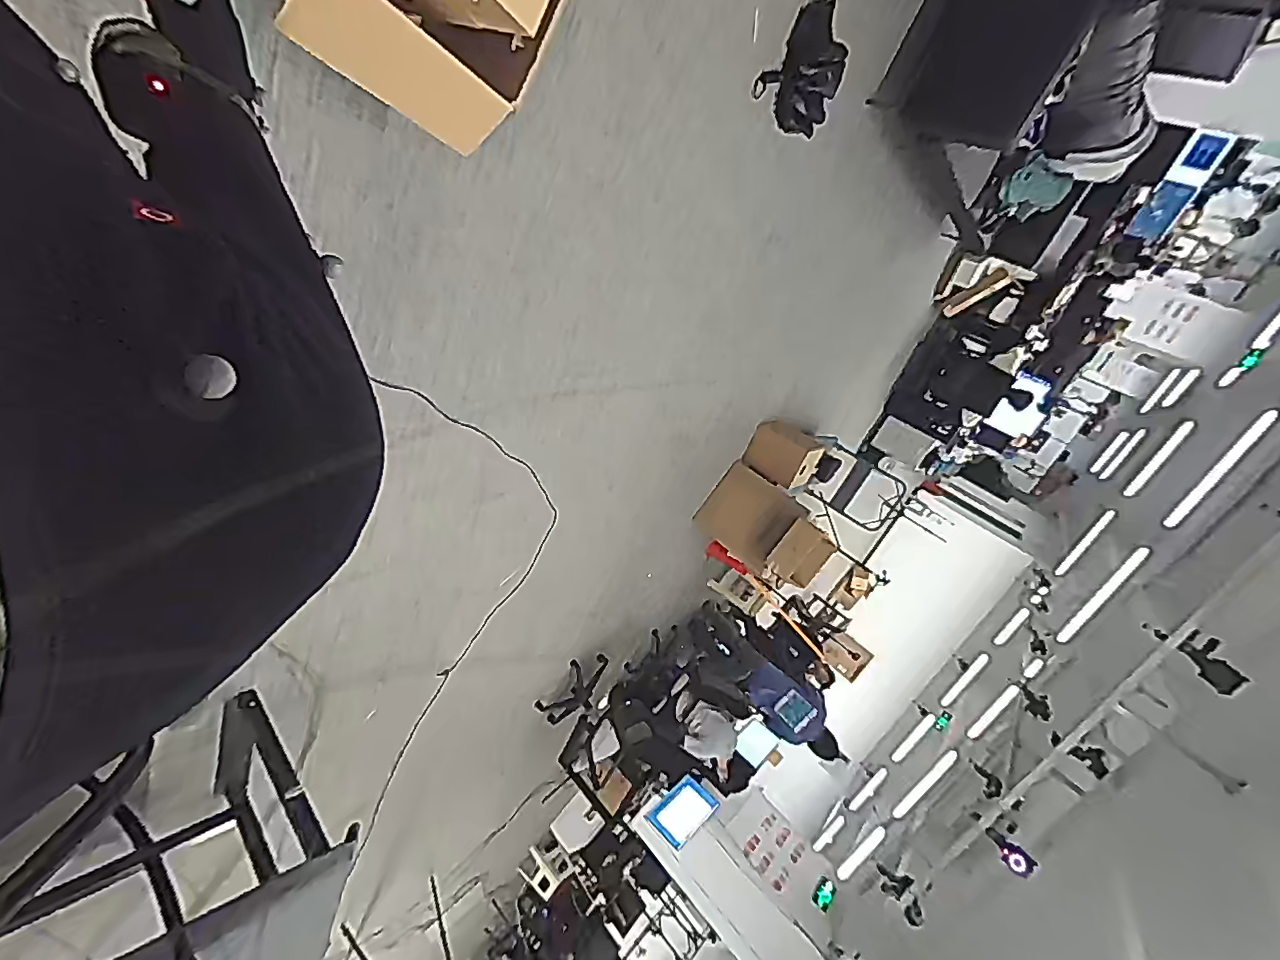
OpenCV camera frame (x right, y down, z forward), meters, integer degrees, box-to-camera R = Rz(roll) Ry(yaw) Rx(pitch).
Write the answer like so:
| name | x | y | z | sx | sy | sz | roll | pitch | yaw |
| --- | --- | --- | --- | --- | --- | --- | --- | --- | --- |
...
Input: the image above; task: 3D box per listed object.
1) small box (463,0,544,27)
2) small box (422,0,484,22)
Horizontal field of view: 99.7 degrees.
| name | x | y | z | sx | sy | sz | roll | pitch | yaw |
| --- | --- | --- | --- | --- | --- | --- | --- | --- | --- |
| small box | -0.243 | -0.861 | 0.842 | 0.179 | 0.176 | 0.168 | 5 | 120 | -55 |
| small box | -0.355 | -0.944 | 0.926 | 0.179 | 0.176 | 0.168 | 6 | 117 | -55 |
